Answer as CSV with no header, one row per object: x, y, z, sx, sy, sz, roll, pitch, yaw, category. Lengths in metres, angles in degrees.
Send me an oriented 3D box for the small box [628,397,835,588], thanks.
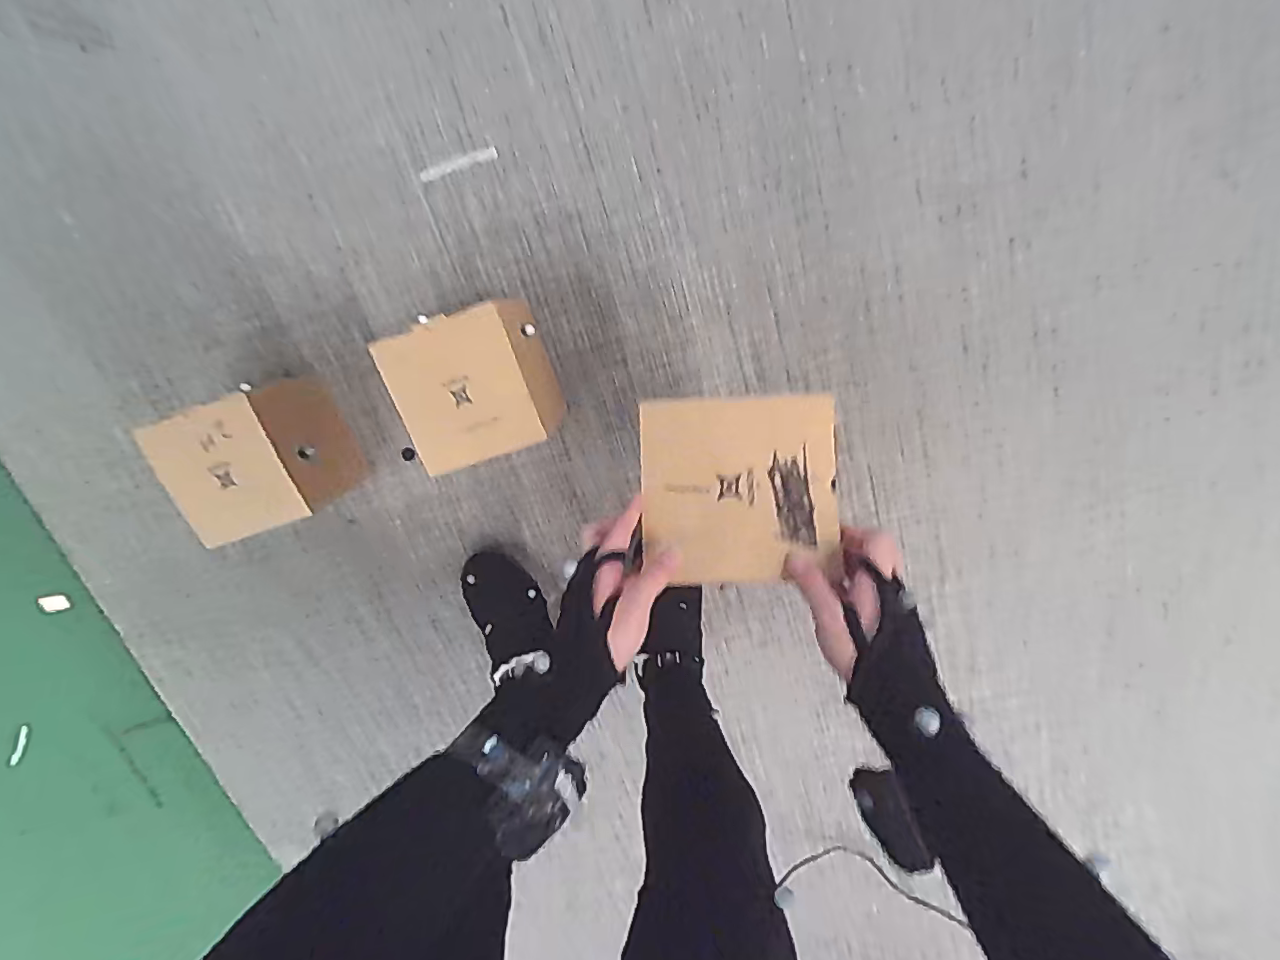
0.081,0.018,0.542,0.179,0.176,0.168,-1,83,5,small box

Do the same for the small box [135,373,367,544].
-0.529,-0.038,0.769,0.168,0.176,0.179,-17,107,7,small box

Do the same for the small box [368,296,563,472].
-0.218,-0.135,0.727,0.168,0.176,0.179,-17,108,8,small box
